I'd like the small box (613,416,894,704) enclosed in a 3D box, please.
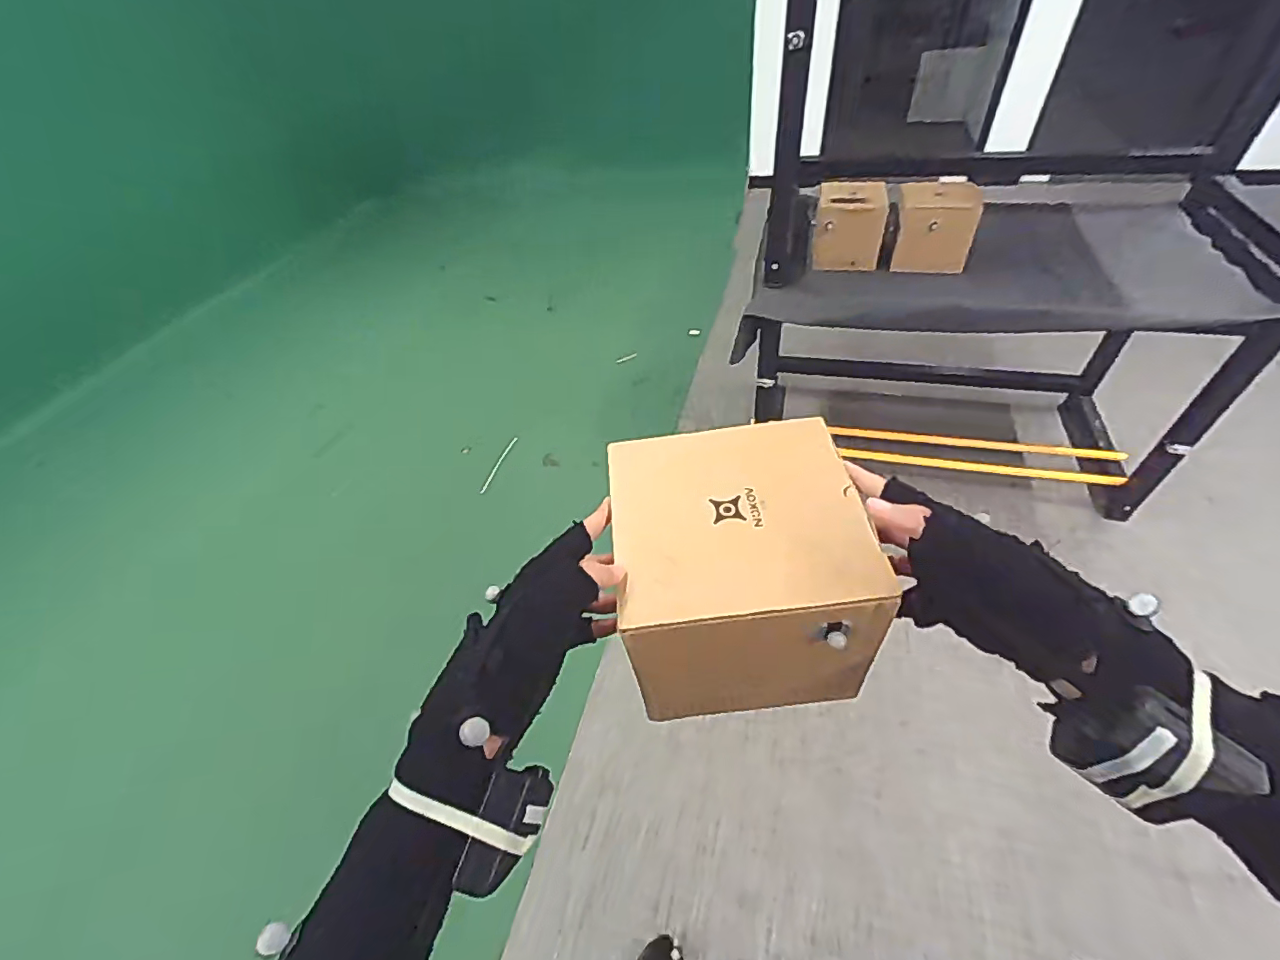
[{"bbox_3d":[0.078,0.071,0.450,0.179,0.176,0.168,-7,48,1],"label":"small box"}]
